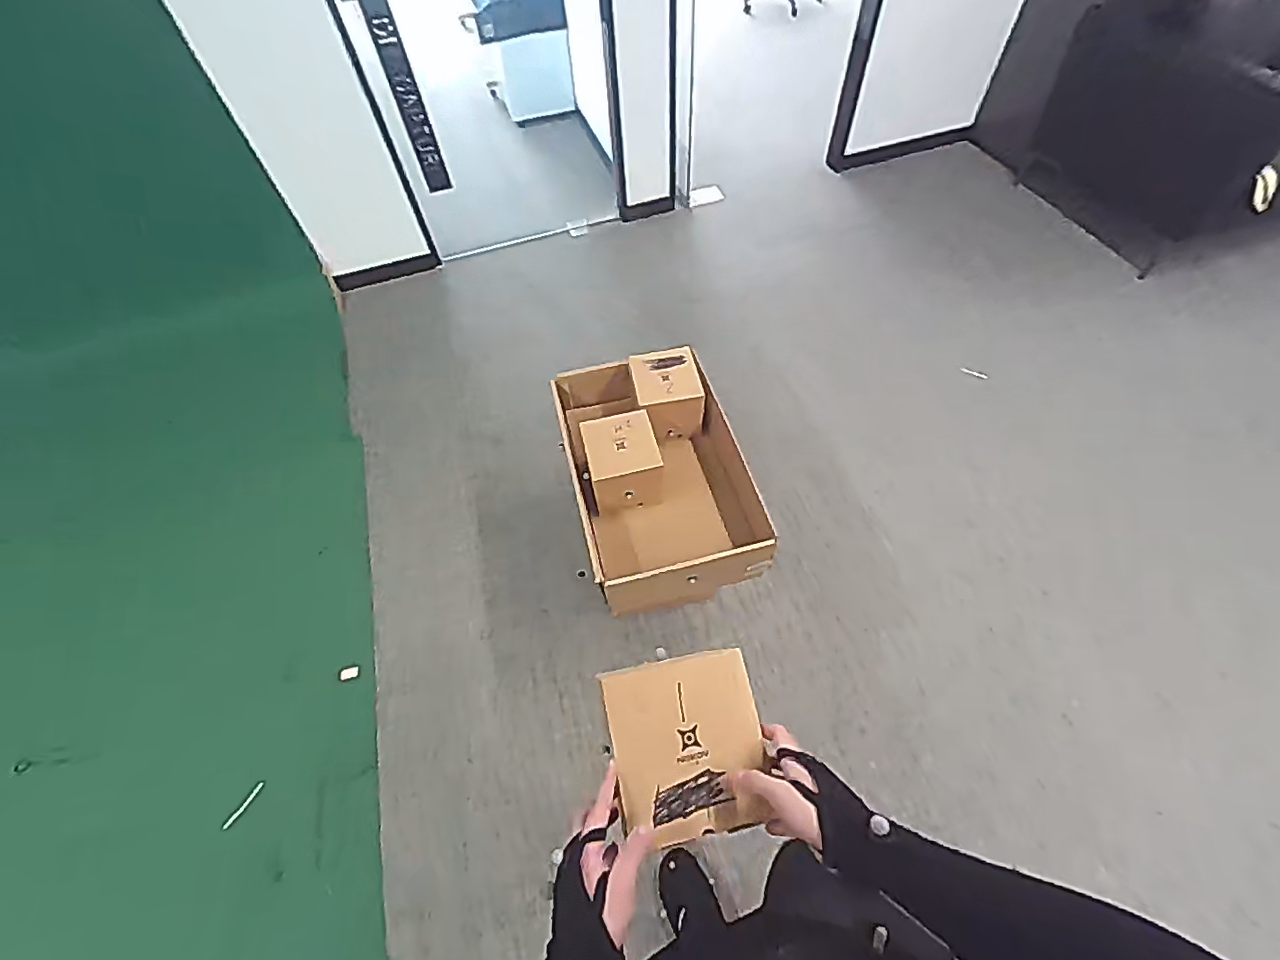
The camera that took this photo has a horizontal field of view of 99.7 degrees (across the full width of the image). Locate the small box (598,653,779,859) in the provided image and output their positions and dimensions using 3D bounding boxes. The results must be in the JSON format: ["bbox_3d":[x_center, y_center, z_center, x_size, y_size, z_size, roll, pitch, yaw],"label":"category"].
[{"bbox_3d":[0.044,0.311,0.648,0.168,0.176,0.179,-8,72,-10],"label":"small box"}]

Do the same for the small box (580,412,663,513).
[{"bbox_3d":[-0.041,-0.034,1.307,0.168,0.176,0.179,-12,57,-5],"label":"small box"}]
